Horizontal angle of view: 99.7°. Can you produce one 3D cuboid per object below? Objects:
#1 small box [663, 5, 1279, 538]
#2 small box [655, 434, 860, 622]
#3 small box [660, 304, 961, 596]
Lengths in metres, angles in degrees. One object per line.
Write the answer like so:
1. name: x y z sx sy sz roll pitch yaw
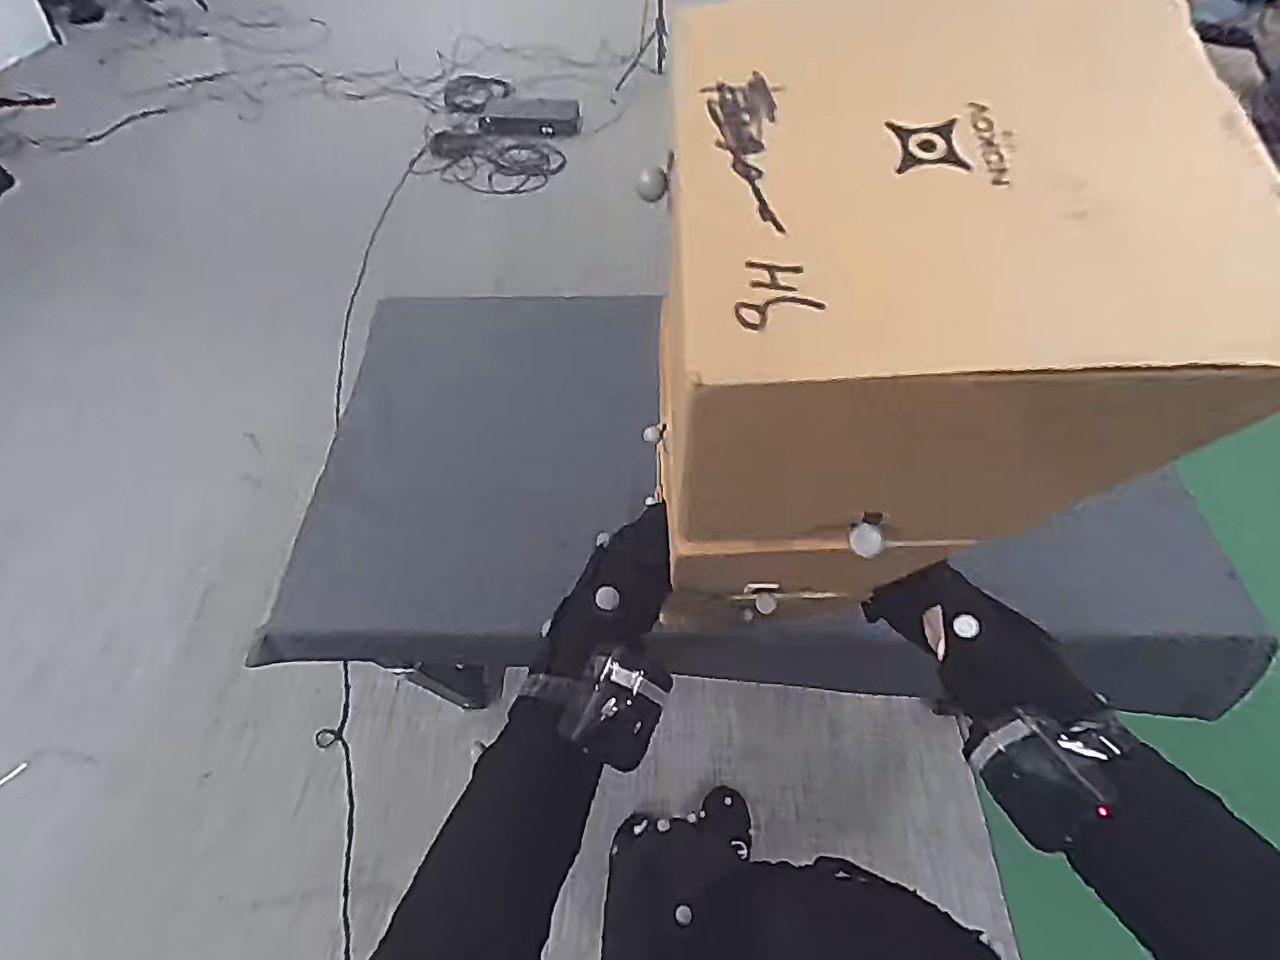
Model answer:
1. small box: 0.101 -0.074 0.255 0.179 0.176 0.168 -1 68 2
2. small box: 0.106 0.056 0.570 0.179 0.176 0.168 -1 69 1
3. small box: 0.099 -0.016 0.407 0.168 0.176 0.179 -2 69 2
